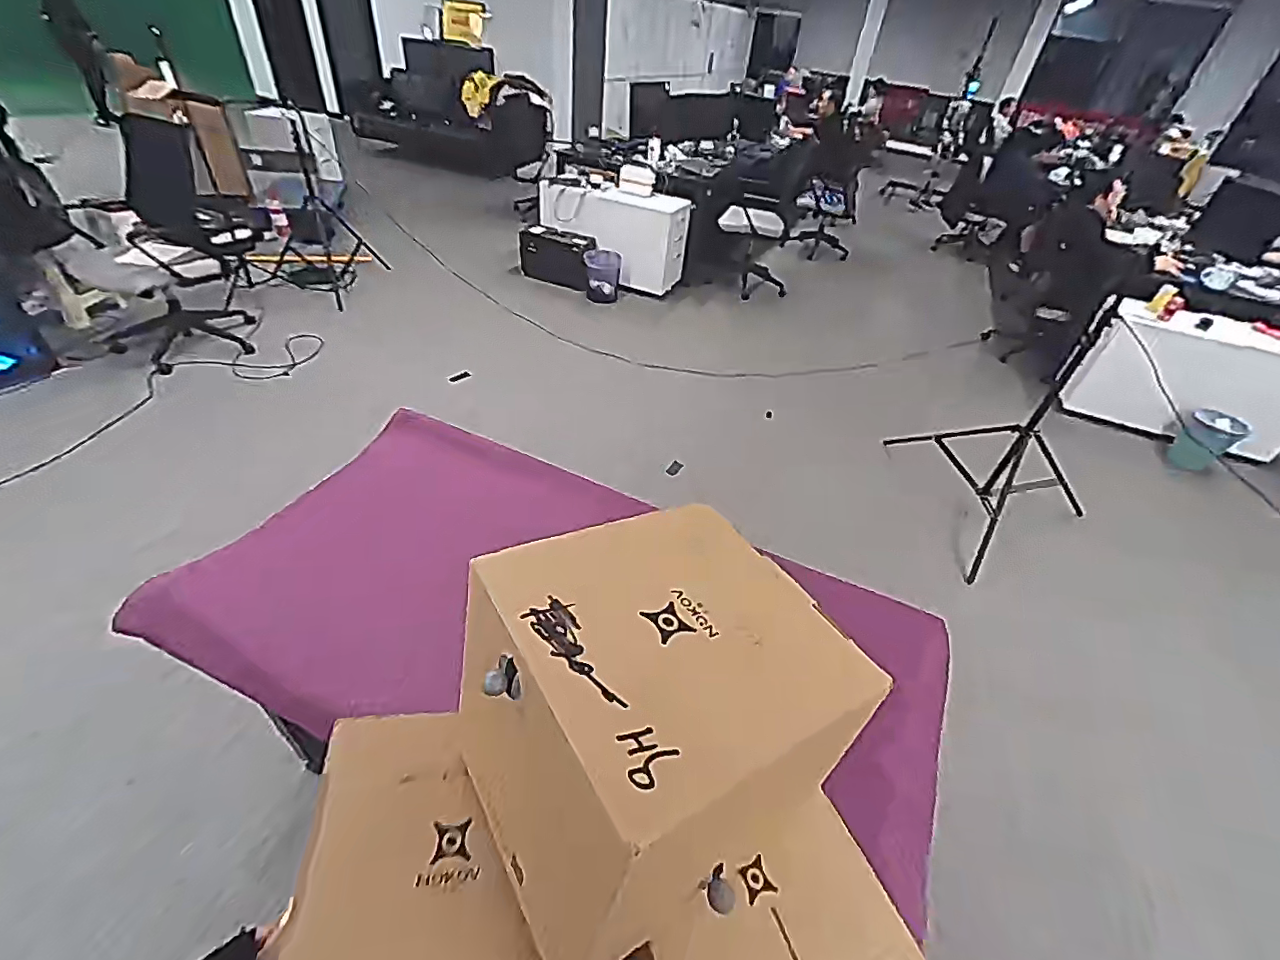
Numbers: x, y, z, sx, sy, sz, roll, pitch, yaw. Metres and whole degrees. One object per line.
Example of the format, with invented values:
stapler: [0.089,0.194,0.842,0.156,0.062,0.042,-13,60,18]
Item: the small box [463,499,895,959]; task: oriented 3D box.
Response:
small box: [0.006,0.137,0.330,0.179,0.176,0.168,-10,39,-35]
